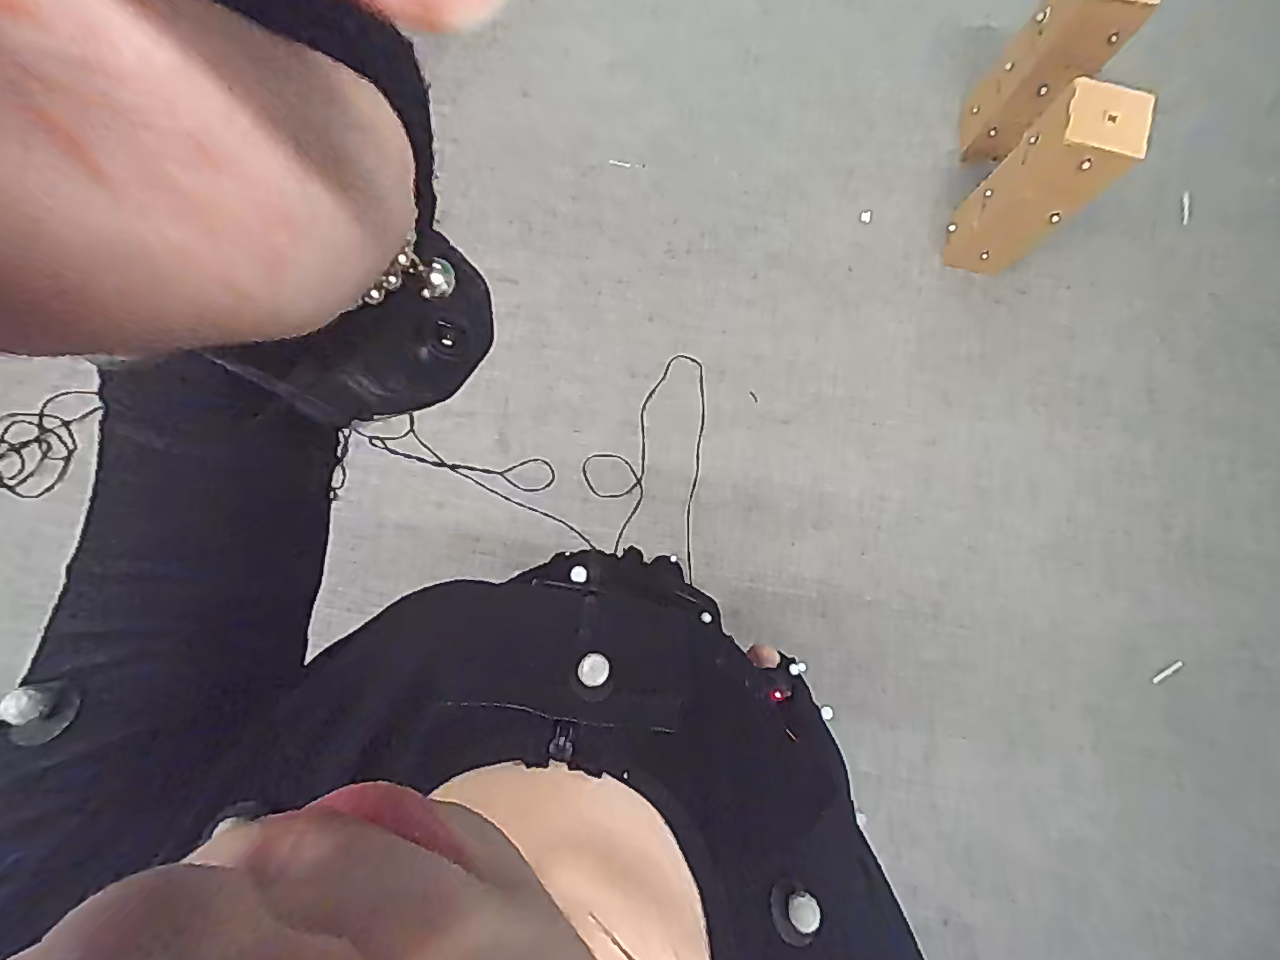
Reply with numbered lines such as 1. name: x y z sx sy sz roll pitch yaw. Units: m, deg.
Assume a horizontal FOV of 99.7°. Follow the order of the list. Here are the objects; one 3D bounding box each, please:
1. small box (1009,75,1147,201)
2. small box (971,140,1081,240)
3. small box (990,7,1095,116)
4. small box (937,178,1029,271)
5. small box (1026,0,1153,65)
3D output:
1. small box: 1.017 -0.790 1.267 0.179 0.176 0.168 15 82 2
2. small box: 1.020 -0.763 1.427 0.179 0.176 0.168 13 82 1
3. small box: 1.093 -1.138 1.481 0.179 0.176 0.168 6 82 1
4. small box: 1.015 -0.743 1.590 0.179 0.176 0.168 15 82 2
5. small box: 1.090 -1.159 1.319 0.179 0.176 0.168 7 80 1
